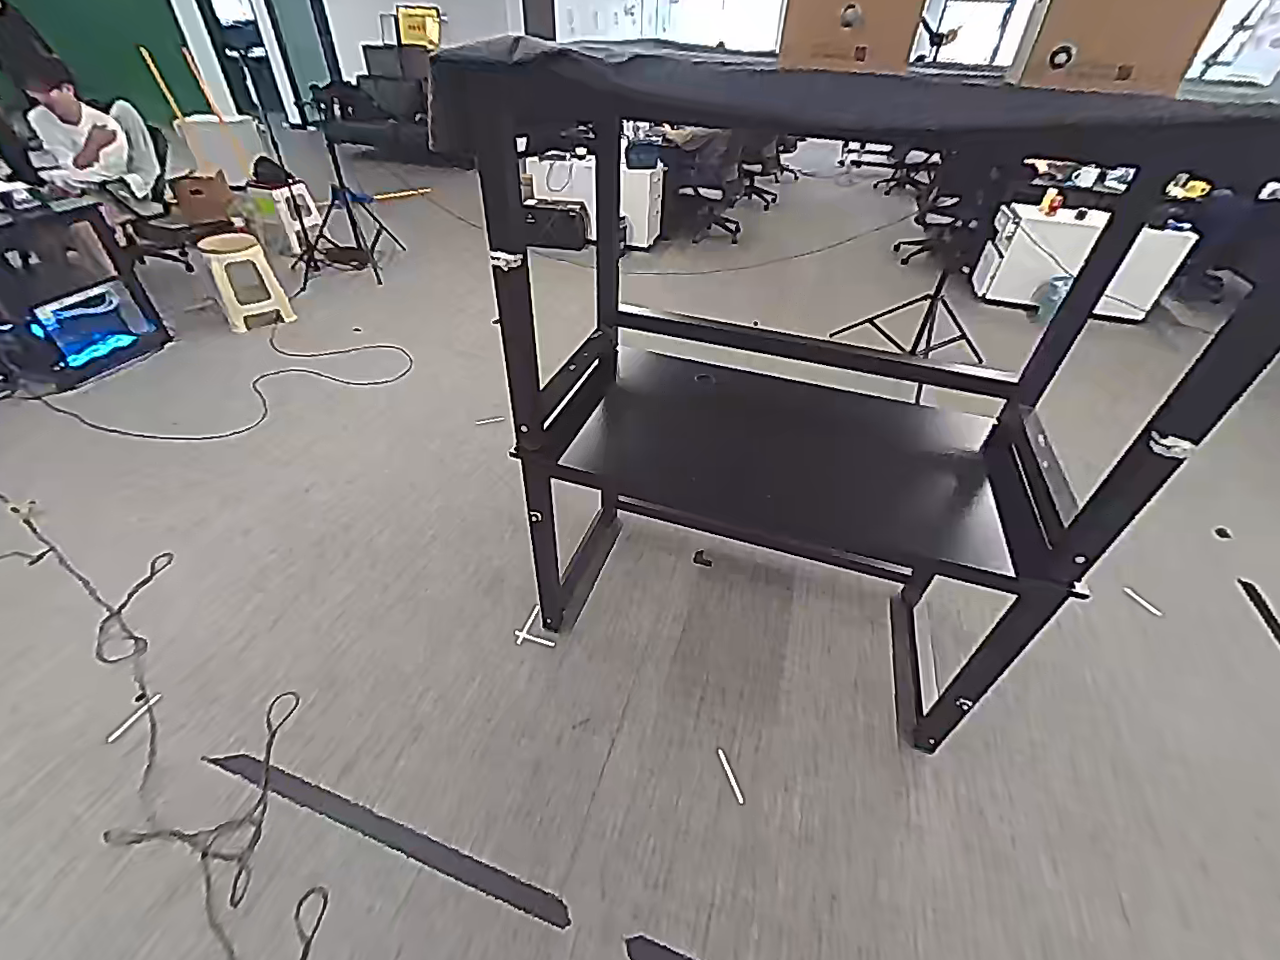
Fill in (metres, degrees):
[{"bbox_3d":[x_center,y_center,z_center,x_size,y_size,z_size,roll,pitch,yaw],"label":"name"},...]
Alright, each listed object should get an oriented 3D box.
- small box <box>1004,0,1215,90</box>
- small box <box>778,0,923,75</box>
[{"bbox_3d":[0.574,-0.581,0.656,0.168,0.176,0.179,16,40,16],"label":"small box"},{"bbox_3d":[0.288,-0.649,0.715,0.168,0.176,0.179,14,39,14],"label":"small box"}]
